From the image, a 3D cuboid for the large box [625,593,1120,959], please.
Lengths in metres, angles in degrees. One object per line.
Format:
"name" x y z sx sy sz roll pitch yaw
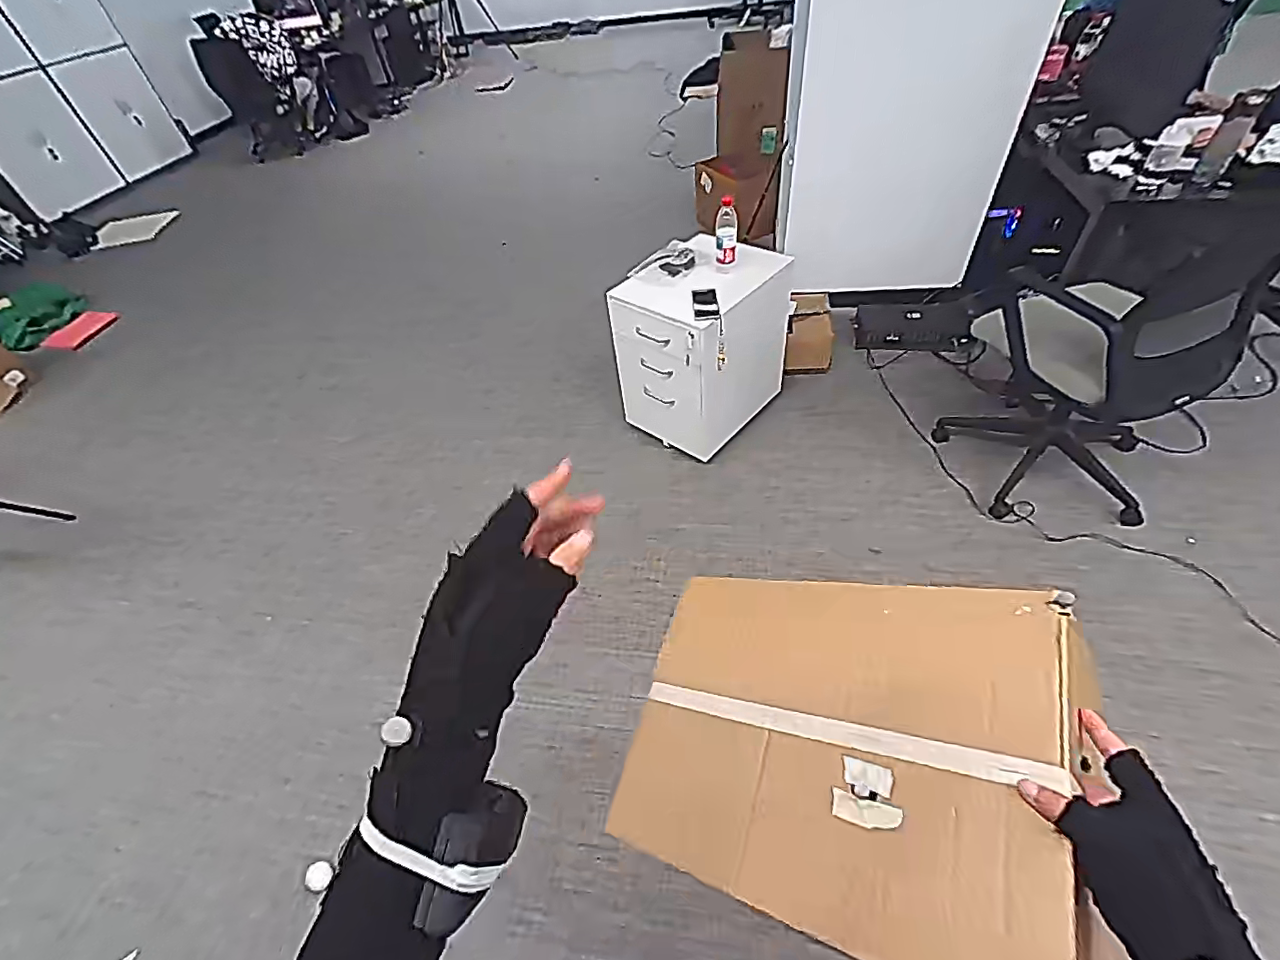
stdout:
"large box" 0.265 0.345 0.621 0.408 0.320 0.320 -8 49 44
